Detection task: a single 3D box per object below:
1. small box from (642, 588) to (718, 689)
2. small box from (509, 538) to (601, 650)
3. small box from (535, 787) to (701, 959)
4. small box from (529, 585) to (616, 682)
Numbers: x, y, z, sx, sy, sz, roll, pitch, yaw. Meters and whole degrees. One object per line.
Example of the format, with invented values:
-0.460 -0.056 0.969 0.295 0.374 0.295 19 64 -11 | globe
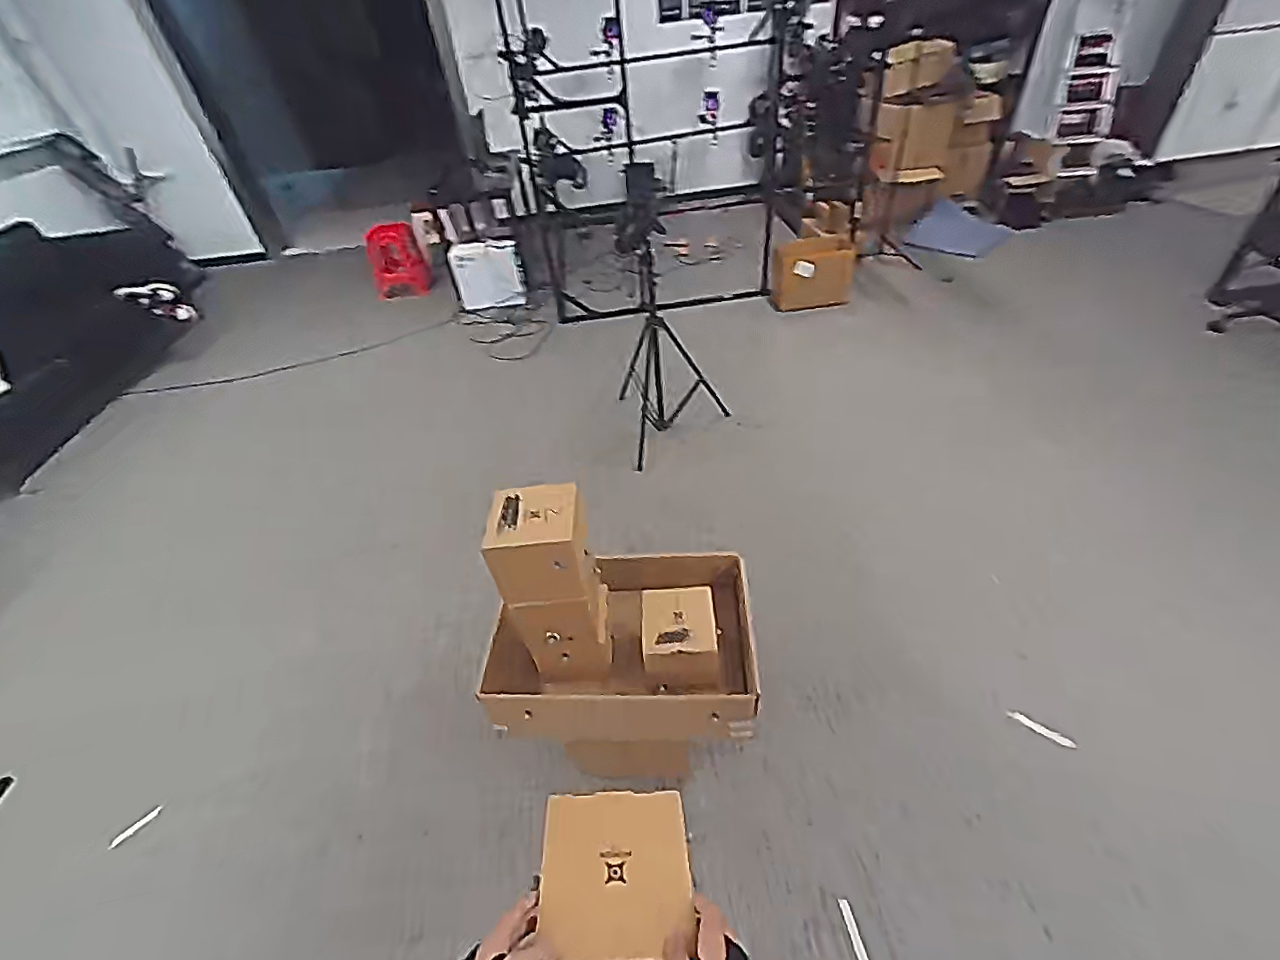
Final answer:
0.096 0.381 1.283 0.168 0.176 0.179 -4 41 4 | small box
-0.182 0.256 1.216 0.168 0.176 0.179 -6 41 2 | small box
-0.026 0.495 0.630 0.168 0.176 0.179 0 25 -4 | small box
-0.157 0.378 1.322 0.179 0.176 0.168 -4 42 3 | small box
